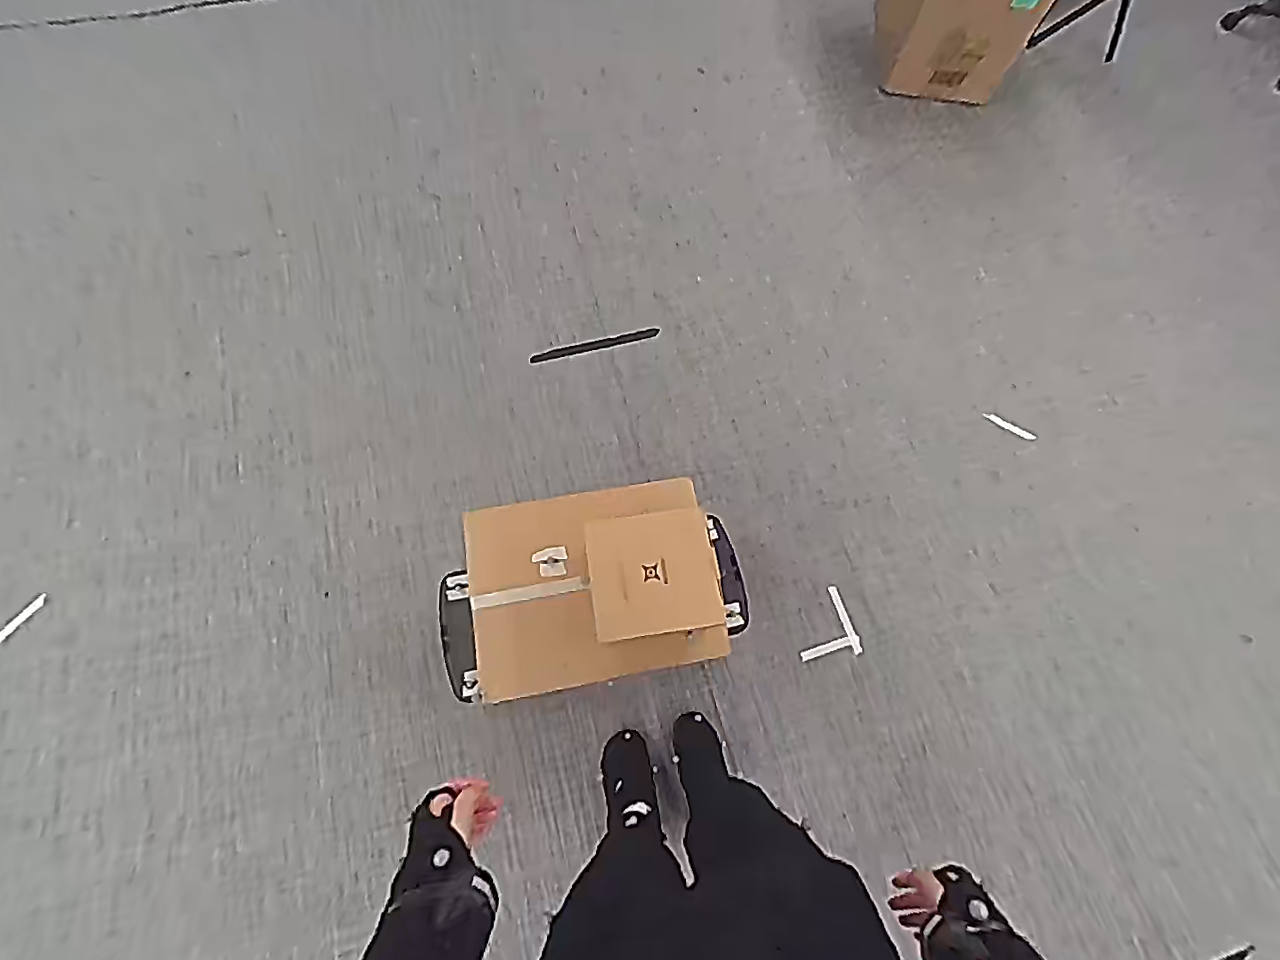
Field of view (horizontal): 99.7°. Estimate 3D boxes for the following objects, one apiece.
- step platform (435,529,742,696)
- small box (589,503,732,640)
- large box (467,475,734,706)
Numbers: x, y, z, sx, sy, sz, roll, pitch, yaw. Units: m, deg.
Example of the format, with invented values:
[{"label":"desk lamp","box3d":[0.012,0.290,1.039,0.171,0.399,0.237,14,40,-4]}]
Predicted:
[{"label":"step platform","box3d":[-0.112,0.299,1.251,0.684,0.204,0.286,-8,72,-5]},{"label":"small box","box3d":[0.021,0.141,0.800,0.179,0.176,0.168,-7,72,-5]},{"label":"large box","box3d":[-0.075,0.214,1.030,0.408,0.320,0.320,-10,71,-5]}]
